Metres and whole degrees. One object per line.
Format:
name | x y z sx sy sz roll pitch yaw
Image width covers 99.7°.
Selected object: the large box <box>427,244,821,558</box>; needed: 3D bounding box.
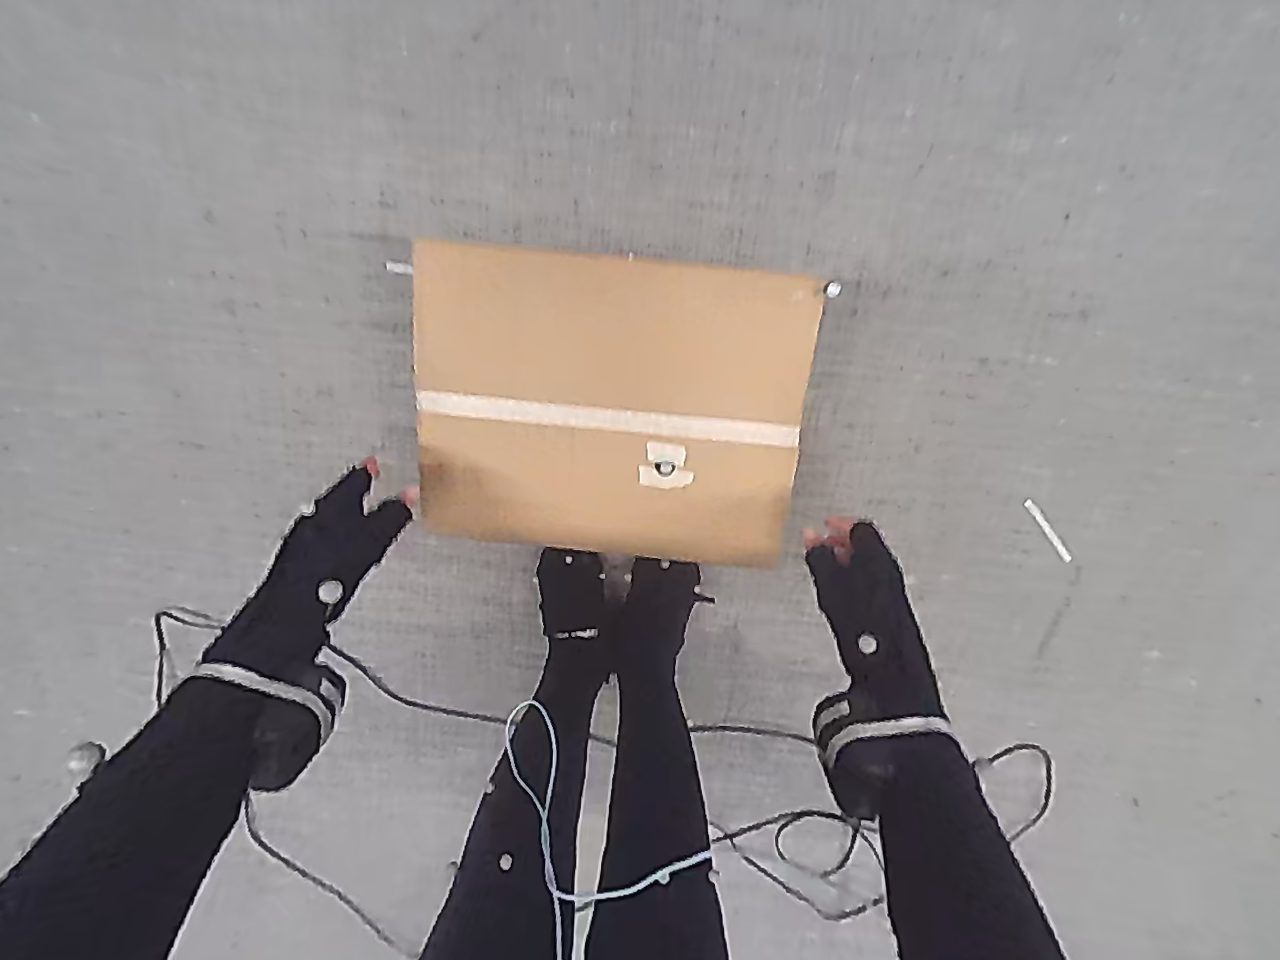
large box | -0.025 -0.113 0.722 0.408 0.320 0.320 6 107 0
